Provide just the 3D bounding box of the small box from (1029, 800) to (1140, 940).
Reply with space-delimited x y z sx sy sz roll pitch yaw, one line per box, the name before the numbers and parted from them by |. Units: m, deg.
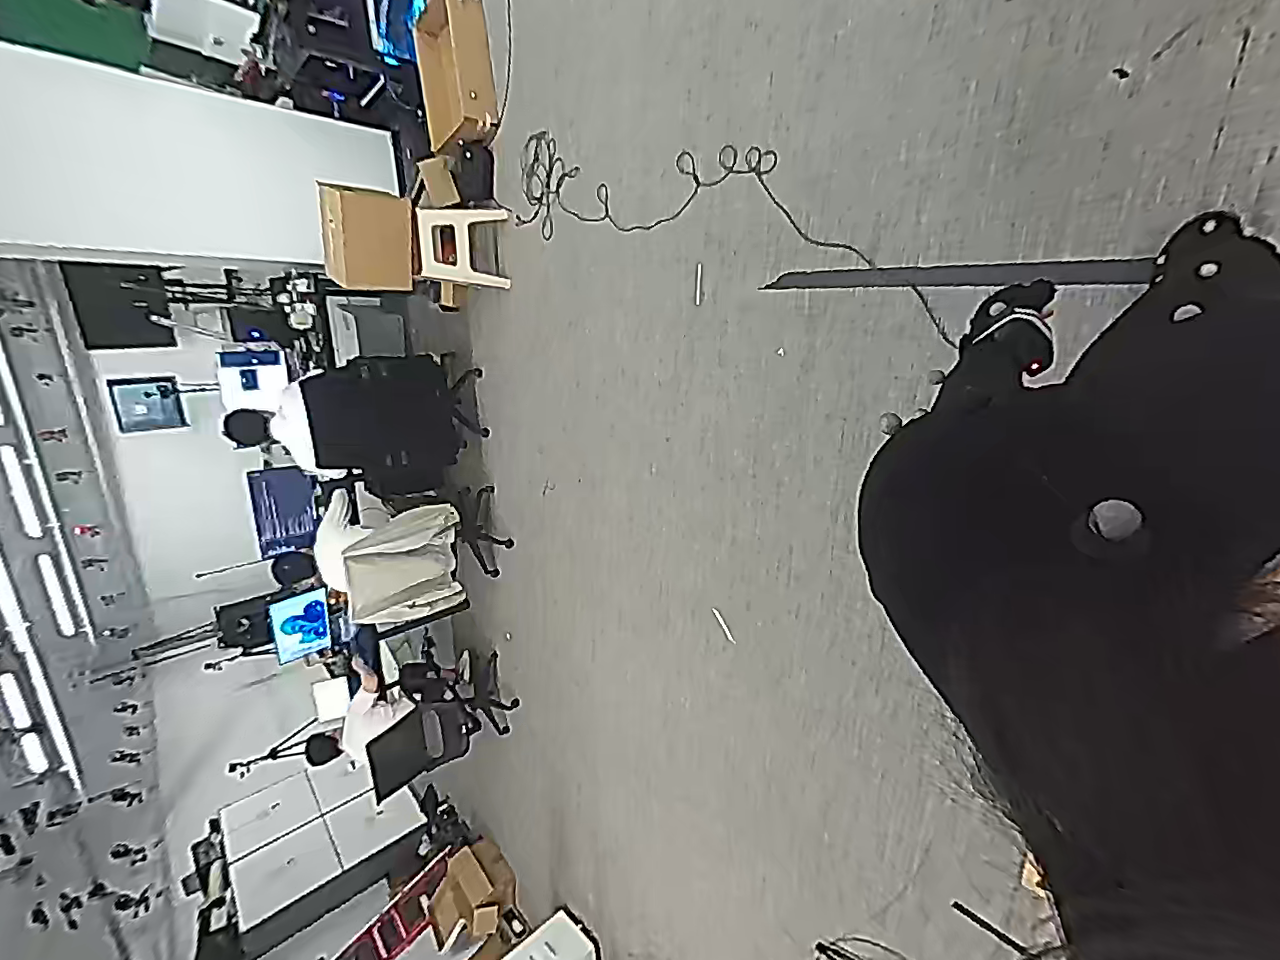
small box | 1.076 0.931 1.307 0.168 0.176 0.179 16 111 46
